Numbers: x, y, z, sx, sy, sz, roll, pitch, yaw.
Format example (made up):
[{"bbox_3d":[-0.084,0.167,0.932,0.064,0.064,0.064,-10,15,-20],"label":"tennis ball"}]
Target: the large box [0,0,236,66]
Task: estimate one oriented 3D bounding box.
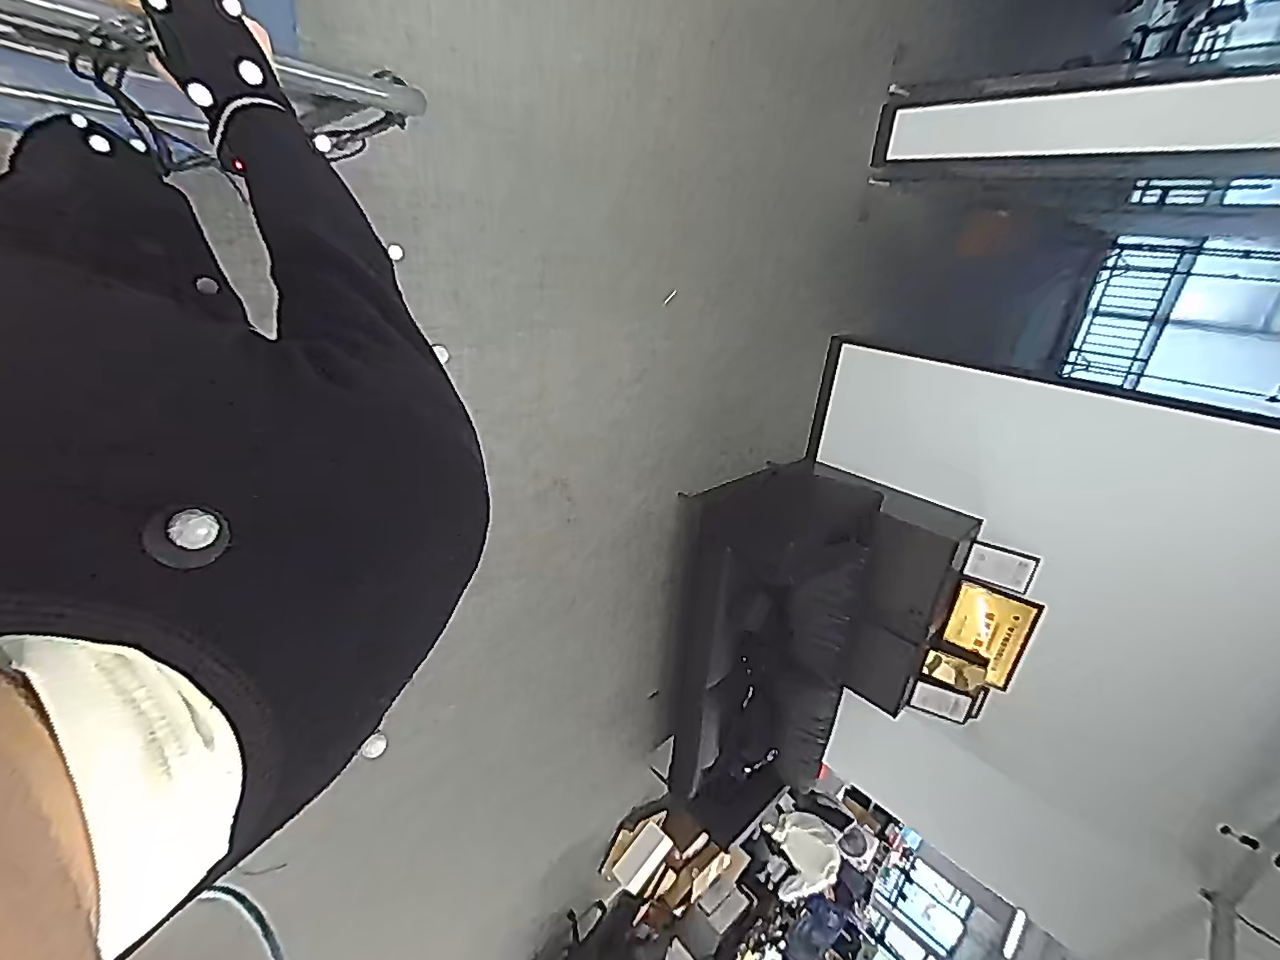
[{"bbox_3d":[-0.785,-0.856,0.719,0.320,0.320,0.408,-14,120,-44],"label":"large box"}]
